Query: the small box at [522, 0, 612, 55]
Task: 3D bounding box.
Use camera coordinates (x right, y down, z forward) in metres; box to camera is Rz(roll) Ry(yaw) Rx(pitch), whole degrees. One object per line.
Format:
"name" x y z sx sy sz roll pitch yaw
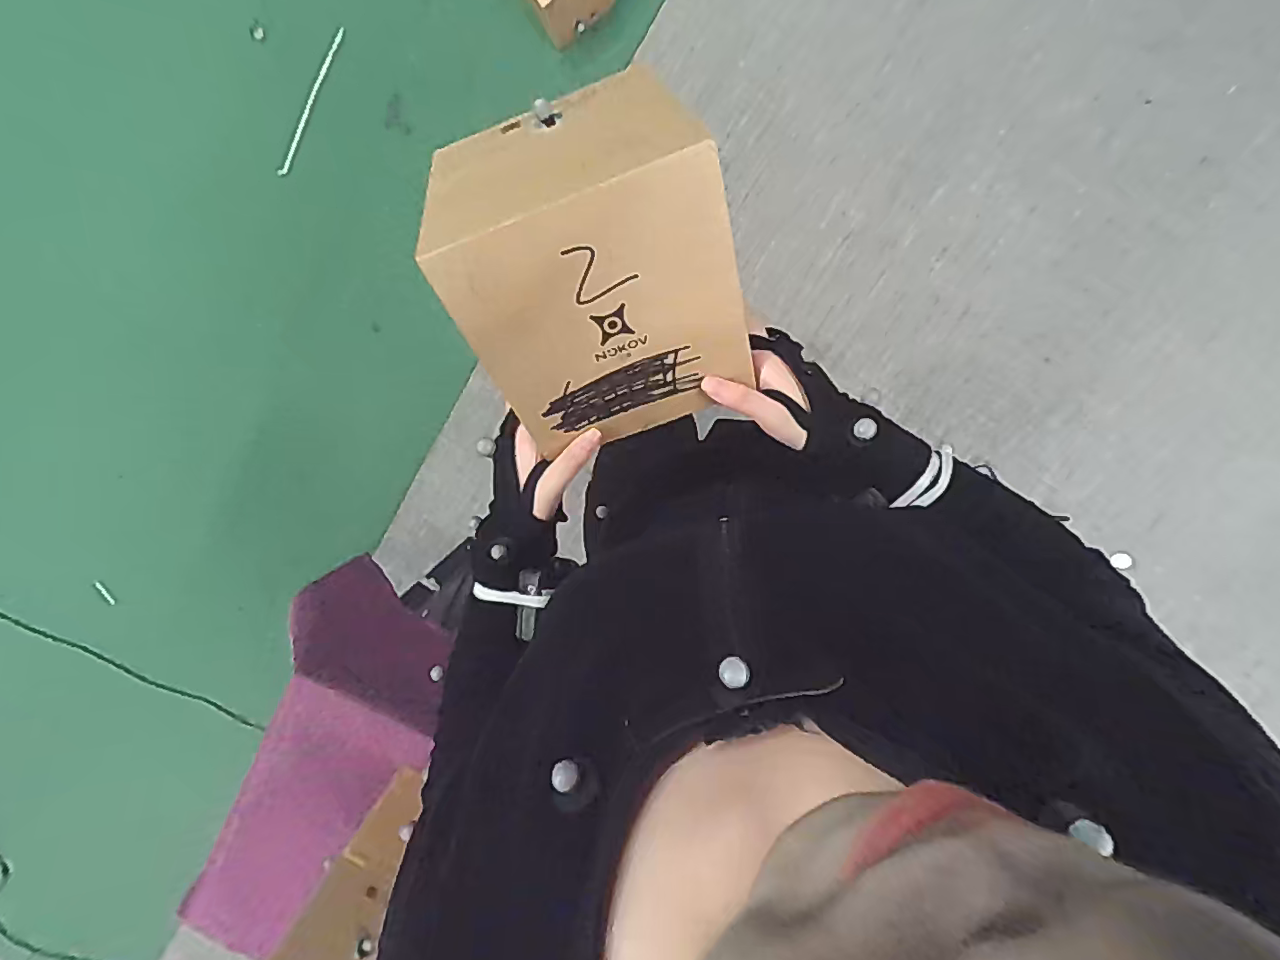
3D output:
"small box" -0.181 -1.102 1.186 0.168 0.176 0.179 -33 98 10

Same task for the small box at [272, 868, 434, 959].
"small box" -0.379 0.629 0.655 0.168 0.176 0.179 33 102 -3

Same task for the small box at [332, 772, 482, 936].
"small box" -0.367 0.595 0.816 0.168 0.176 0.179 34 102 -4
